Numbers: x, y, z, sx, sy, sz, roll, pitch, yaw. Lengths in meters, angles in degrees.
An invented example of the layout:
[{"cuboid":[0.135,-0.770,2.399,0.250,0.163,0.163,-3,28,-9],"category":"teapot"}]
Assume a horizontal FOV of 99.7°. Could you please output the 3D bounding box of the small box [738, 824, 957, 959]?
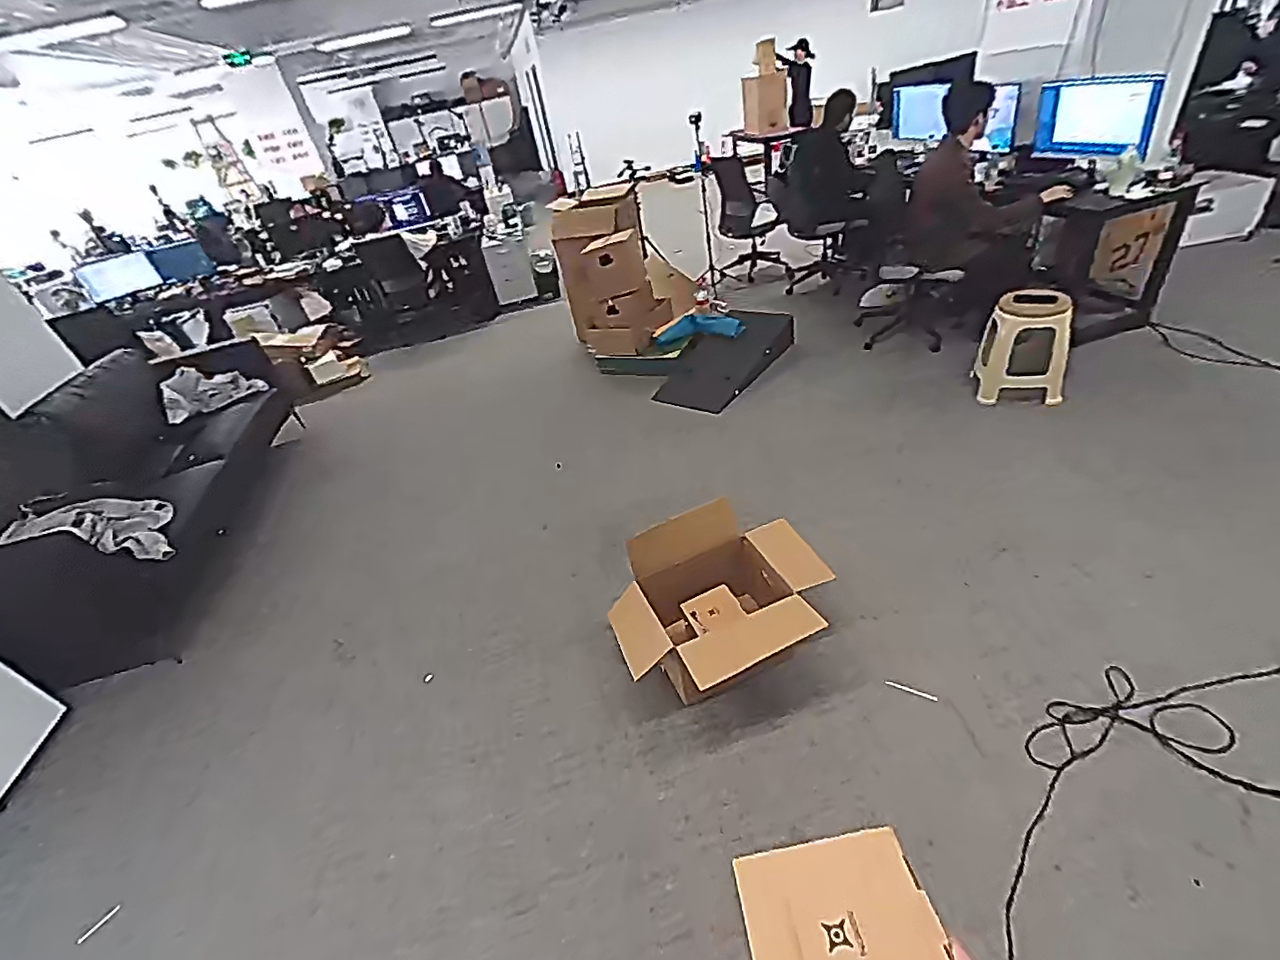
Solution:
[{"cuboid":[0.210,0.488,0.542,0.179,0.176,0.168,-15,26,6],"category":"small box"}]
